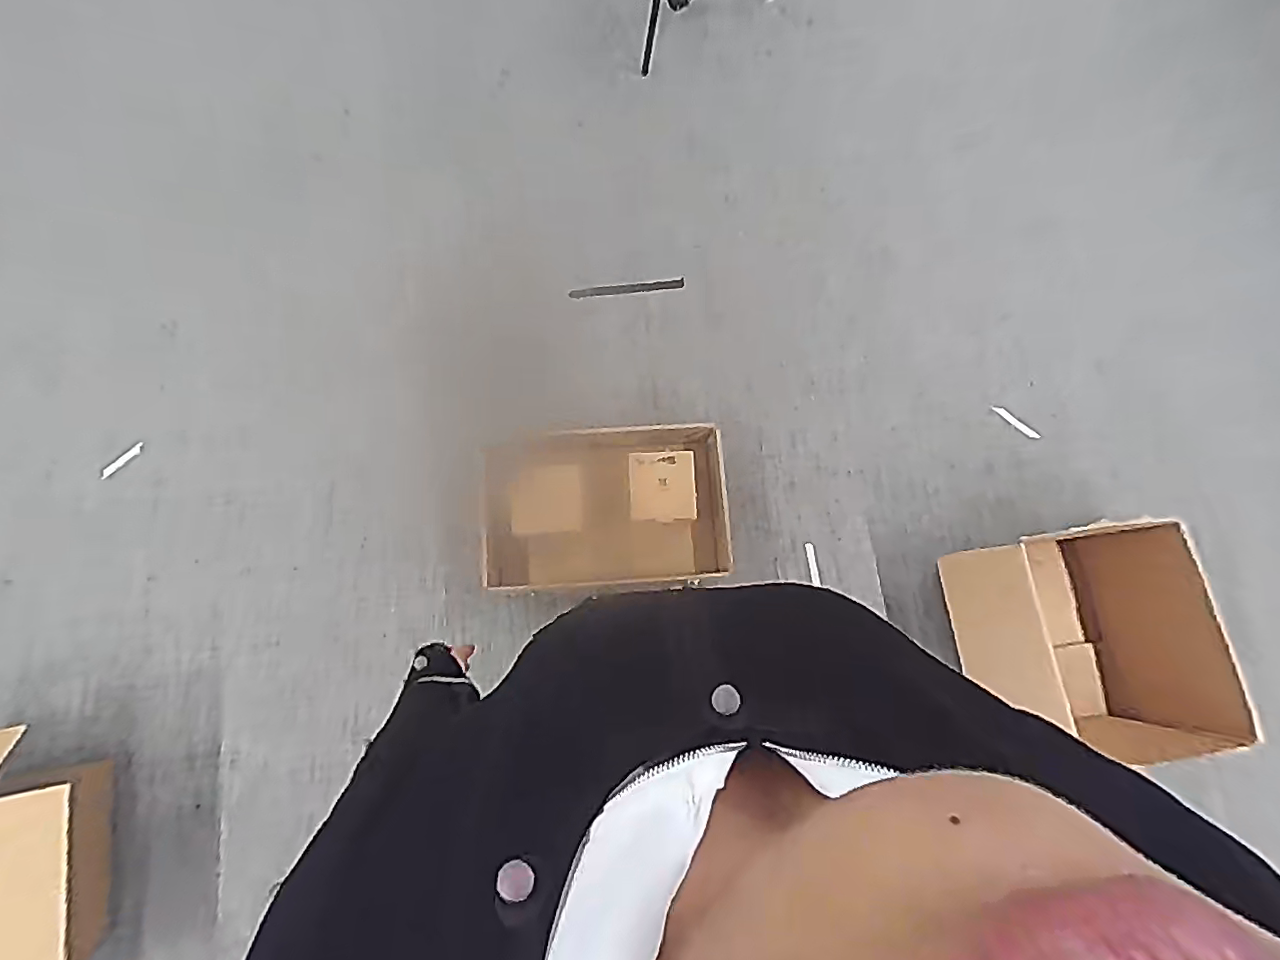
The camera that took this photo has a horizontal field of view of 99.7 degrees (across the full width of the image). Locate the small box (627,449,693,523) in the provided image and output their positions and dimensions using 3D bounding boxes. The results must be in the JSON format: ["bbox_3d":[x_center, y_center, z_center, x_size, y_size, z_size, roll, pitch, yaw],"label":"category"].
[{"bbox_3d":[0.050,0.022,1.426,0.168,0.176,0.179,-2,80,-2],"label":"small box"}]

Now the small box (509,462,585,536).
[{"bbox_3d":[-0.238,0.054,1.410,0.179,0.176,0.168,-4,81,-5],"label":"small box"}]
